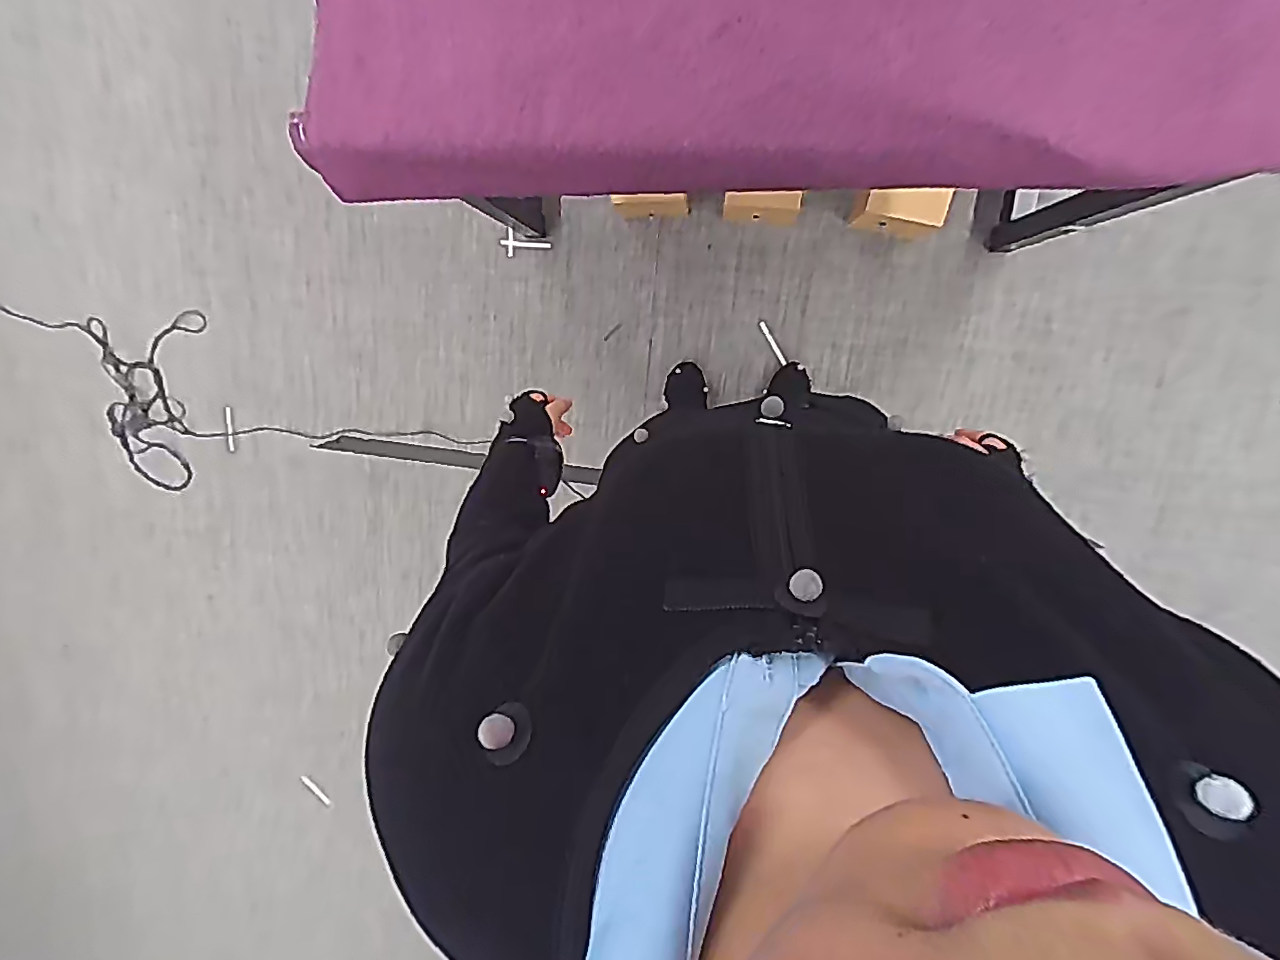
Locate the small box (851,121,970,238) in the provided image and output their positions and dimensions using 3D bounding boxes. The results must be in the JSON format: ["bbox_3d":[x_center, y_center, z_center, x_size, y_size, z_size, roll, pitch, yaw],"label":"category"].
[{"bbox_3d":[0.589,-0.658,1.208,0.168,0.176,0.179,14,105,4],"label":"small box"}]

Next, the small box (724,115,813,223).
[{"bbox_3d":[0.285,-0.699,1.235,0.168,0.176,0.179,7,104,5],"label":"small box"}]
